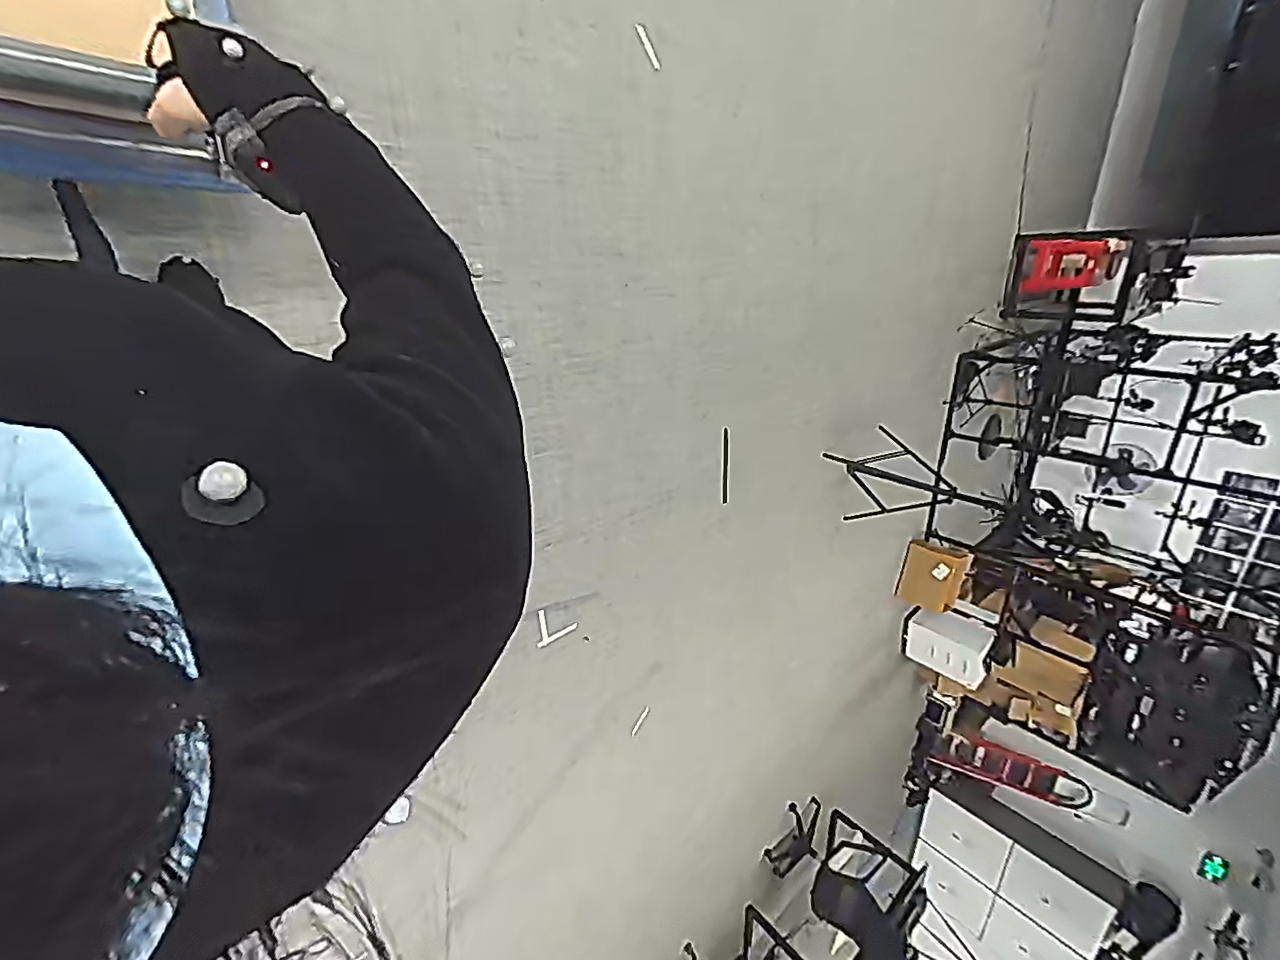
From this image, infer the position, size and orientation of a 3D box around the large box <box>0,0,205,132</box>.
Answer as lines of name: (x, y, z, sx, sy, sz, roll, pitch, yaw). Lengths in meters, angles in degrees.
large box: (-0.818, -0.653, 0.641, 0.408, 0.320, 0.320, -15, 116, -40)
